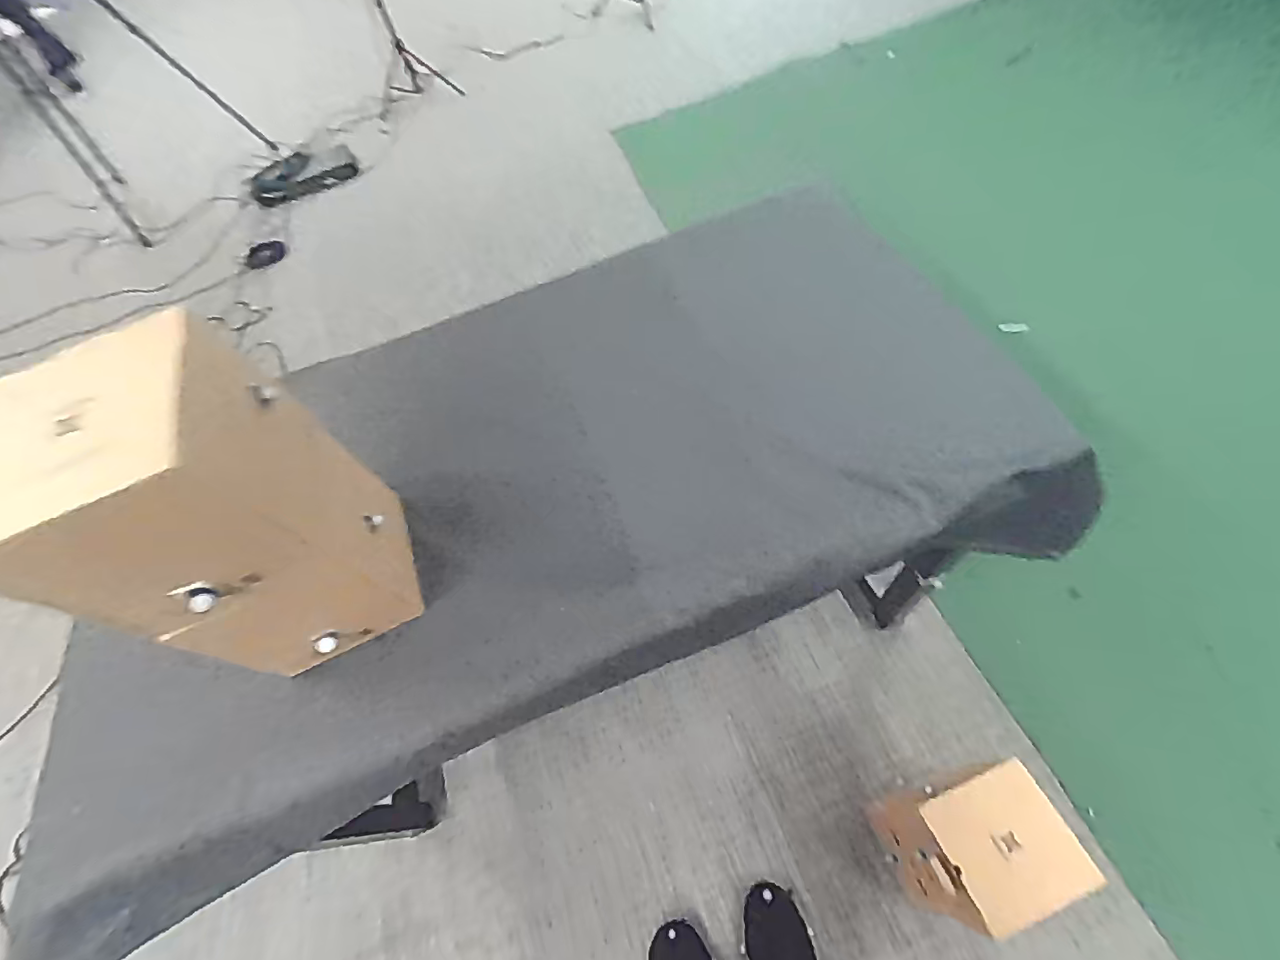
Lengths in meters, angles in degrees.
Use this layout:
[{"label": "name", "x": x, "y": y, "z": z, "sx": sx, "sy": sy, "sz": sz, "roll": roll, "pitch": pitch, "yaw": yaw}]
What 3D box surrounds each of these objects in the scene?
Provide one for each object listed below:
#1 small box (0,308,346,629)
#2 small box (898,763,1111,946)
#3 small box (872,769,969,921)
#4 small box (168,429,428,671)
[{"label": "small box", "x": -0.381, "y": -0.002, "z": 0.455, "sx": 0.168, "sy": 0.176, "sz": 0.179, "roll": -26, "pitch": 59, "yaw": -4}, {"label": "small box", "x": 0.528, "y": 0.549, "z": 0.817, "sx": 0.179, "sy": 0.176, "sz": 0.168, "roll": -24, "pitch": 59, "yaw": -4}, {"label": "small box", "x": 0.535, "y": 0.638, "z": 0.956, "sx": 0.179, "sy": 0.176, "sz": 0.168, "roll": -23, "pitch": 57, "yaw": -3}, {"label": "small box", "x": -0.360, "y": 0.082, "z": 0.593, "sx": 0.168, "sy": 0.176, "sz": 0.179, "roll": -25, "pitch": 59, "yaw": -5}]
